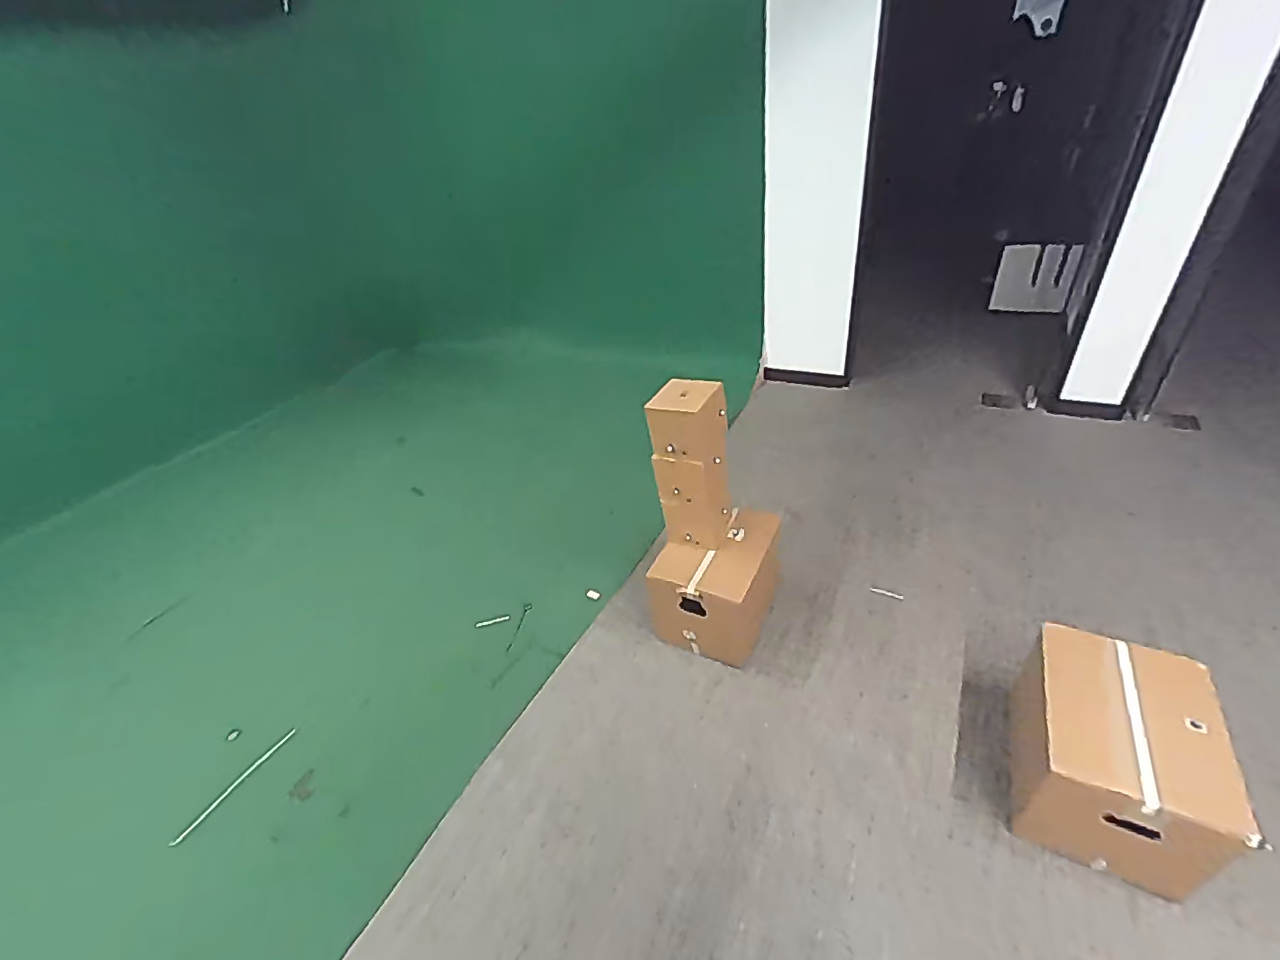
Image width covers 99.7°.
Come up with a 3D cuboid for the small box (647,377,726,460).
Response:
[{"bbox_3d":[0.141,-0.180,1.563,0.168,0.176,0.179,10,42,31],"label":"small box"}]

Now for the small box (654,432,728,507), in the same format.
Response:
[{"bbox_3d":[0.163,-0.045,1.654,0.168,0.176,0.179,9,41,29],"label":"small box"}]

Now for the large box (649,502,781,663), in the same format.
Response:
[{"bbox_3d":[0.268,0.328,1.814,0.320,0.320,0.408,12,40,27],"label":"large box"}]
